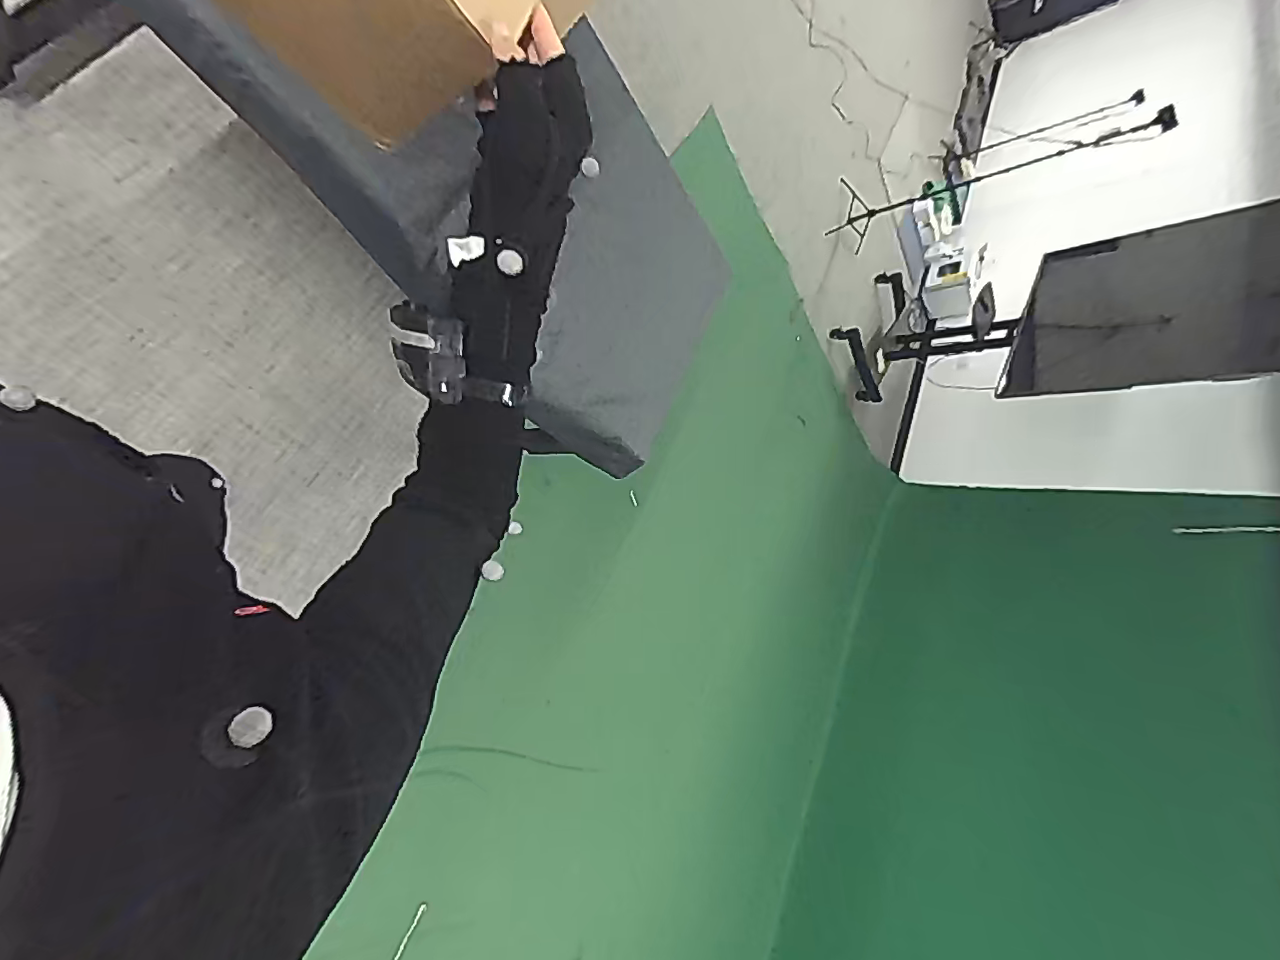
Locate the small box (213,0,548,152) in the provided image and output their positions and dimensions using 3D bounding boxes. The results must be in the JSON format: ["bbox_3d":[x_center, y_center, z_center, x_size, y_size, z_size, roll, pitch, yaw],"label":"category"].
[{"bbox_3d":[-0.173,-0.366,0.359,0.179,0.176,0.168,36,66,-46],"label":"small box"}]
